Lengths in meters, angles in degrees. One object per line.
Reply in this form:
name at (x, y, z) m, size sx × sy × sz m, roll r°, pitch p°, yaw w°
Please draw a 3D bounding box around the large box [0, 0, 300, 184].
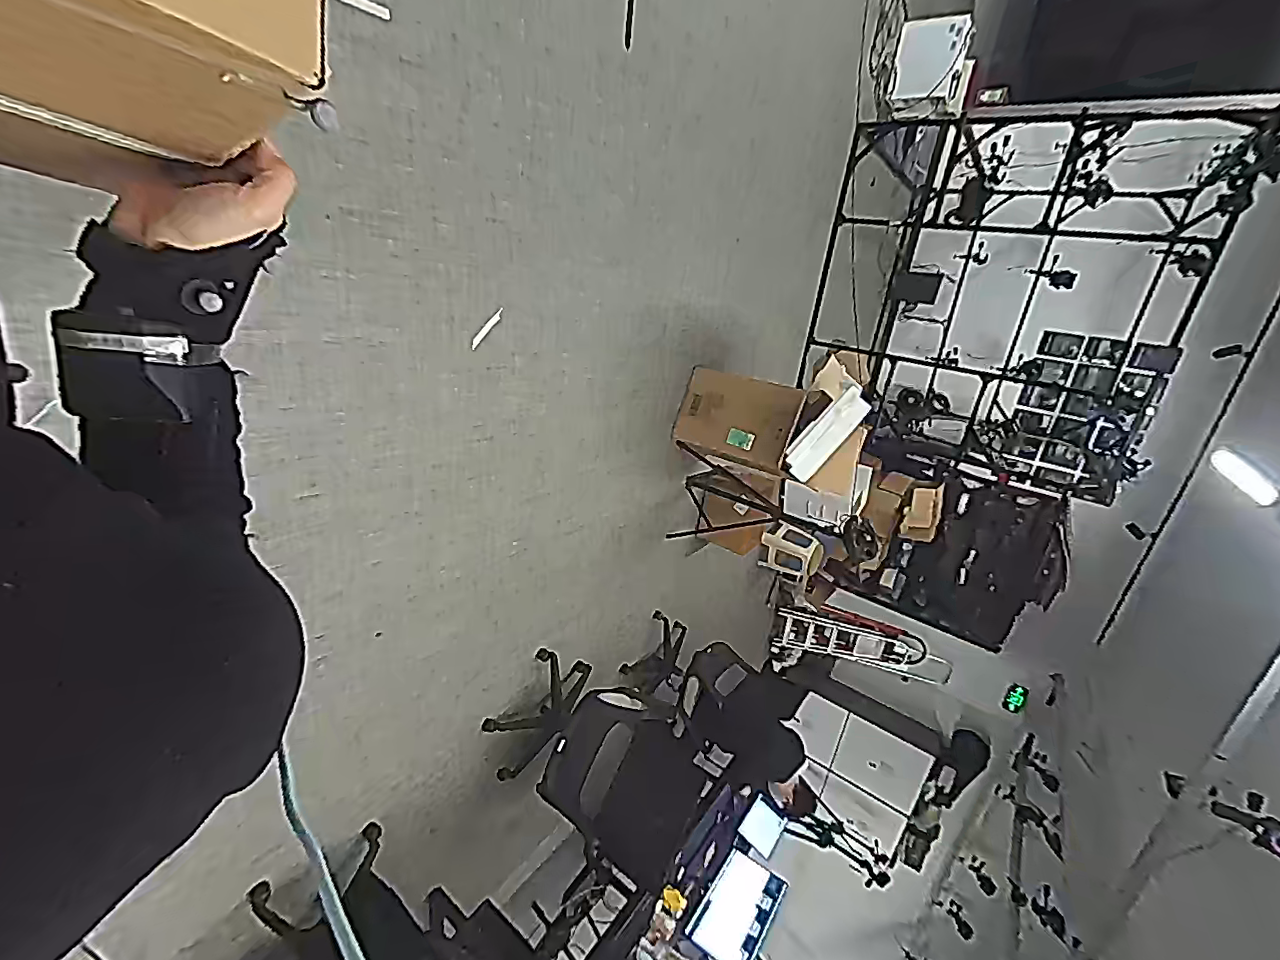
large box at (-0.378, -0.340, 0.151) m, size 0.408 × 0.320 × 0.320 m, roll -7°, pitch 105°, yaw -51°
